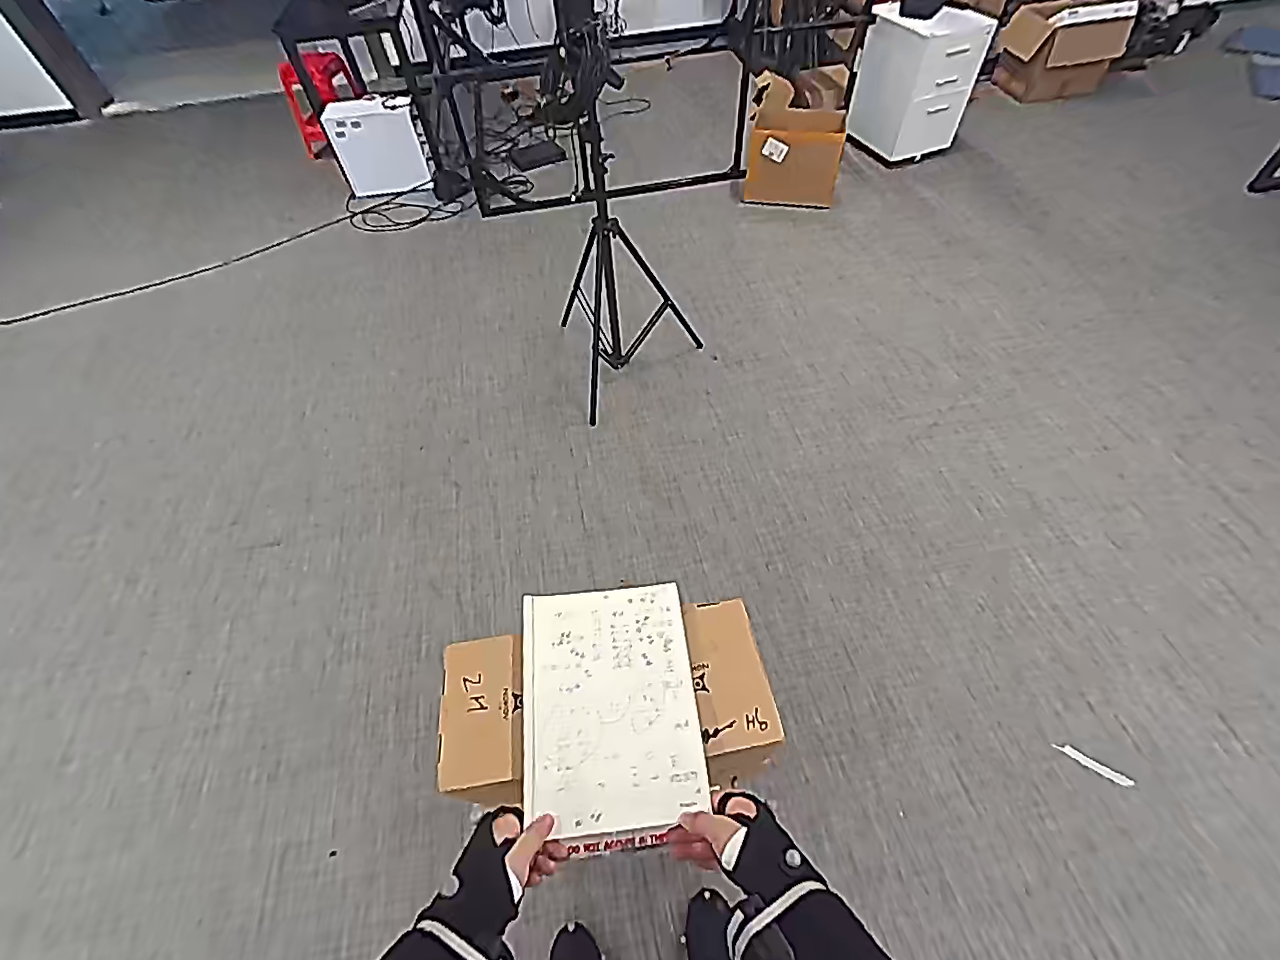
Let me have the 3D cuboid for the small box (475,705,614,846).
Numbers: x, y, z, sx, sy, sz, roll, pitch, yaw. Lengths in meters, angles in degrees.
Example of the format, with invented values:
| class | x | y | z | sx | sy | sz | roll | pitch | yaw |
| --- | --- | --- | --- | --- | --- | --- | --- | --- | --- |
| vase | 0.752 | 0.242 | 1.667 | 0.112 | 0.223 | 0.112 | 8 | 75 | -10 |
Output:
| class | x | y | z | sx | sy | sz | roll | pitch | yaw |
| --- | --- | --- | --- | --- | --- | --- | --- | --- | --- |
| small box | -0.132 | 0.451 | 0.822 | 0.179 | 0.176 | 0.168 | -6 | 55 | 1 |

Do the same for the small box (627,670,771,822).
| class | x | y | z | sx | sy | sz | roll | pitch | yaw |
| --- | --- | --- | --- | --- | --- | --- | --- | --- | --- |
| small box | 0.081 | 0.415 | 0.838 | 0.179 | 0.176 | 0.168 | -11 | 55 | -6 |
